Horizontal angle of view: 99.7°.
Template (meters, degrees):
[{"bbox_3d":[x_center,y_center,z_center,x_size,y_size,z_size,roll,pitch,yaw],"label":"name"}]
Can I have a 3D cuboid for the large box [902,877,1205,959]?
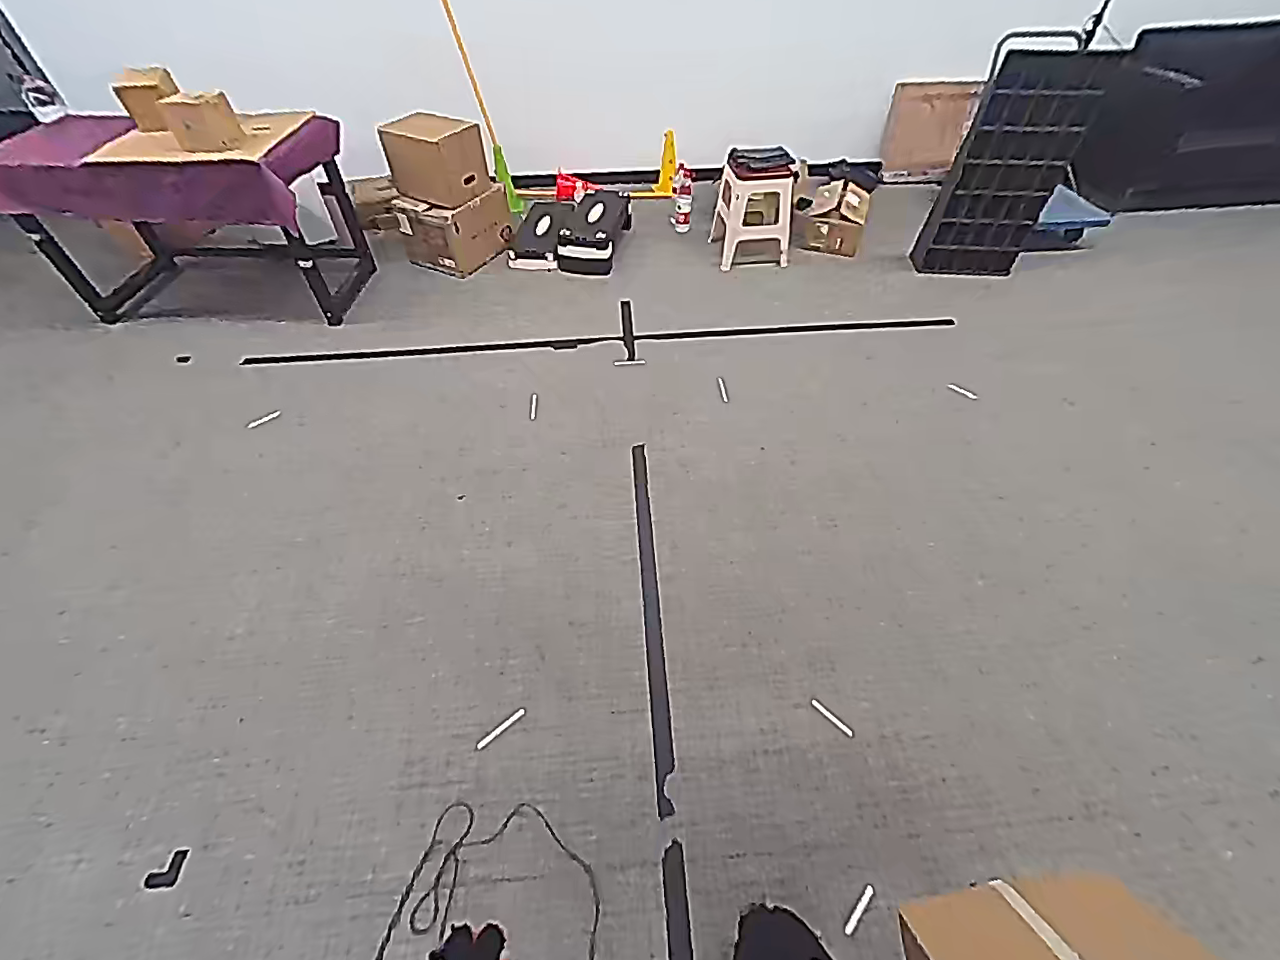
[{"bbox_3d":[0.553,0.745,0.589,0.320,0.408,0.320,-9,89,-2],"label":"large box"}]
